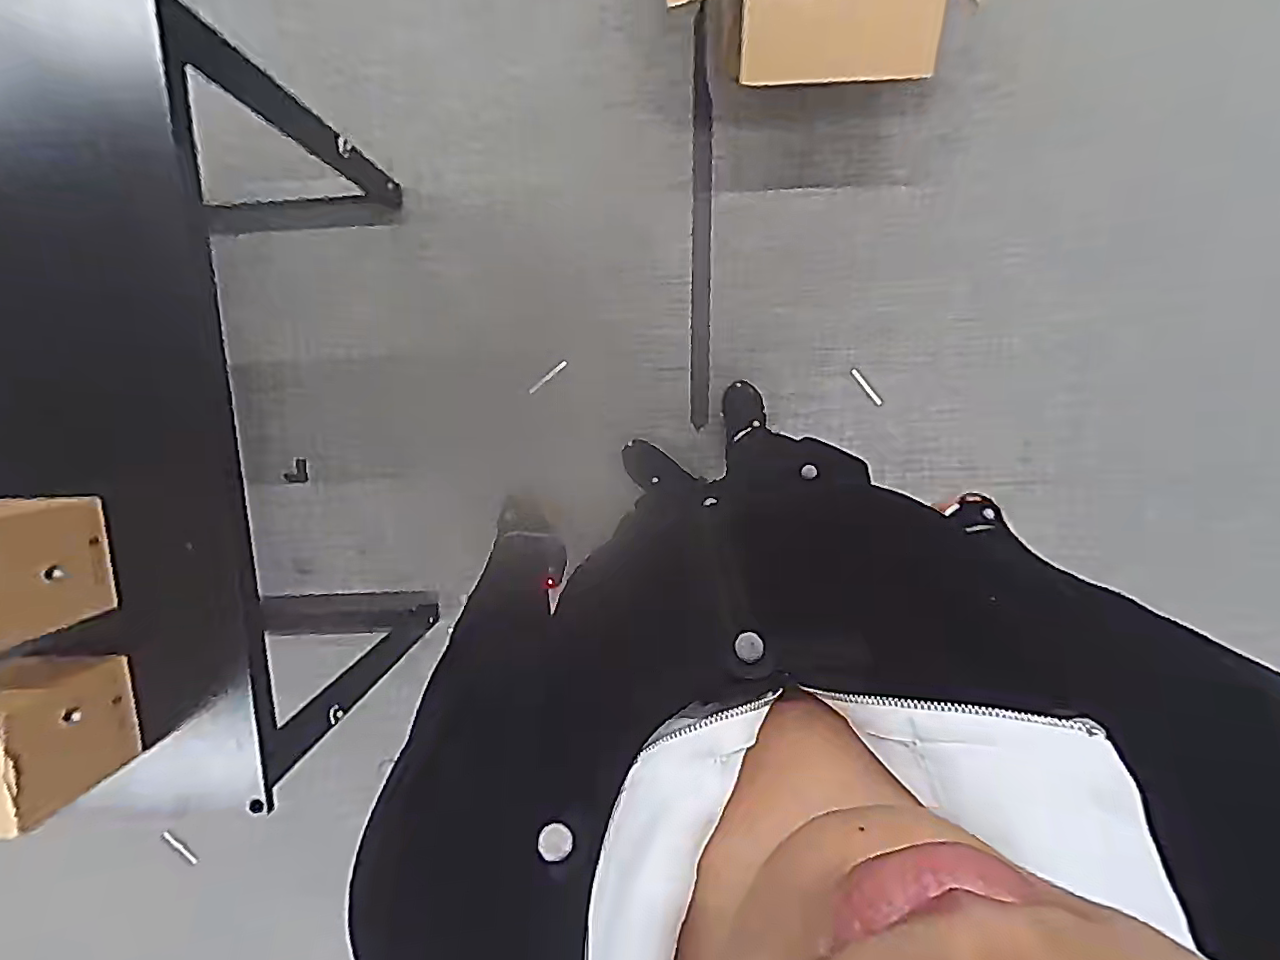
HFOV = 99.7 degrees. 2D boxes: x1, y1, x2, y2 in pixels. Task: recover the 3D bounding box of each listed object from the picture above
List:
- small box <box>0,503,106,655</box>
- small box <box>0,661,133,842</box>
[{"bbox_3d":[-0.863,0.125,0.711,0.179,0.176,0.168,-1,97,2],"label":"small box"},{"bbox_3d":[-0.856,0.362,0.746,0.179,0.176,0.168,-3,96,3],"label":"small box"}]
